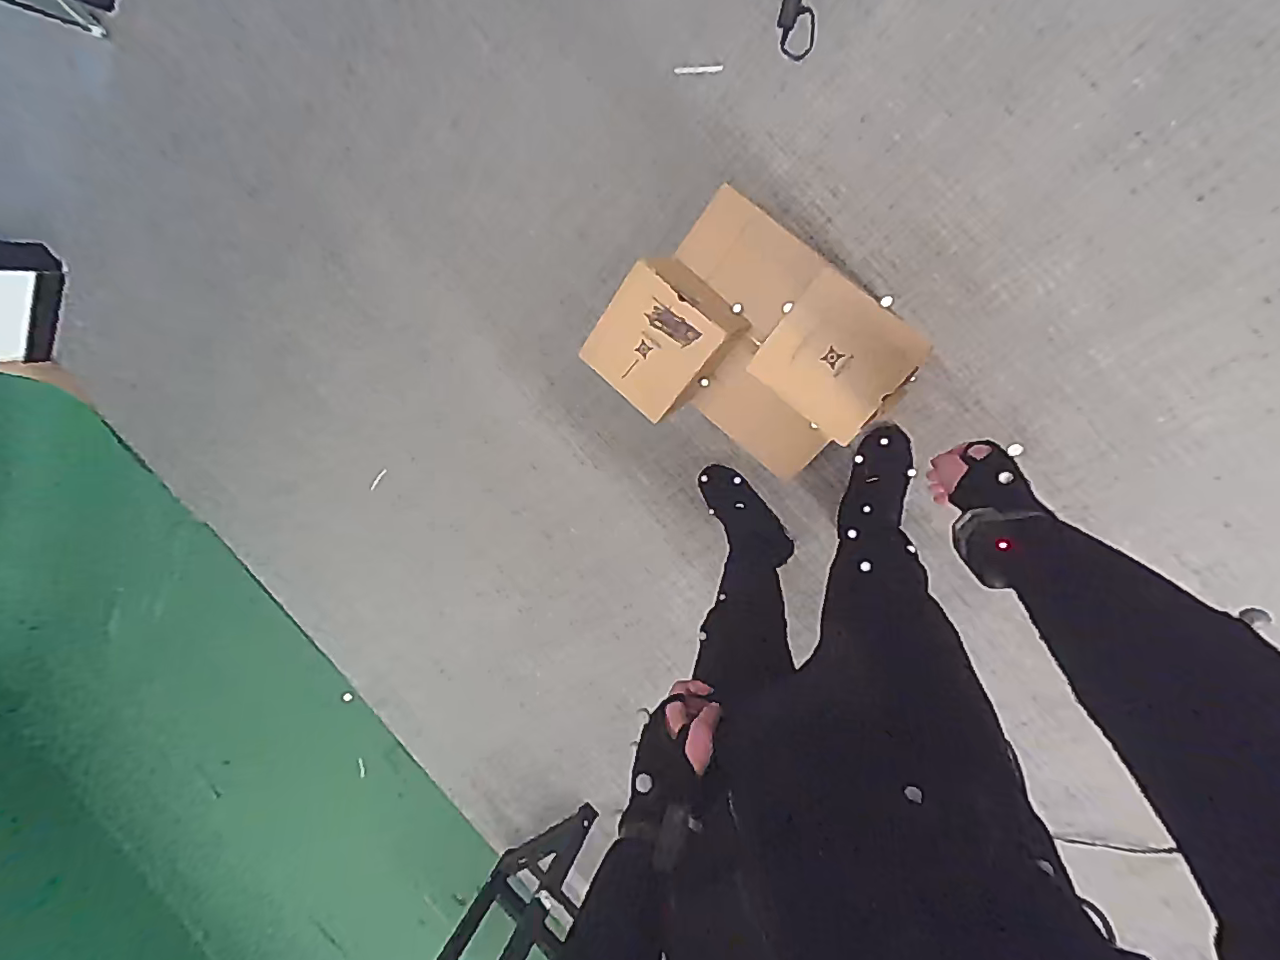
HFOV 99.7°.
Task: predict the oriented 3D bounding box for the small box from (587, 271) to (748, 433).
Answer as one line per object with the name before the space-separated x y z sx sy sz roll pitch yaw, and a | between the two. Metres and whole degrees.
small box | 0.053 -0.208 0.859 0.168 0.176 0.179 43 120 5

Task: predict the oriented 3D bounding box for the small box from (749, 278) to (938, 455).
small box | 0.287 -0.165 0.777 0.179 0.176 0.168 39 114 8
